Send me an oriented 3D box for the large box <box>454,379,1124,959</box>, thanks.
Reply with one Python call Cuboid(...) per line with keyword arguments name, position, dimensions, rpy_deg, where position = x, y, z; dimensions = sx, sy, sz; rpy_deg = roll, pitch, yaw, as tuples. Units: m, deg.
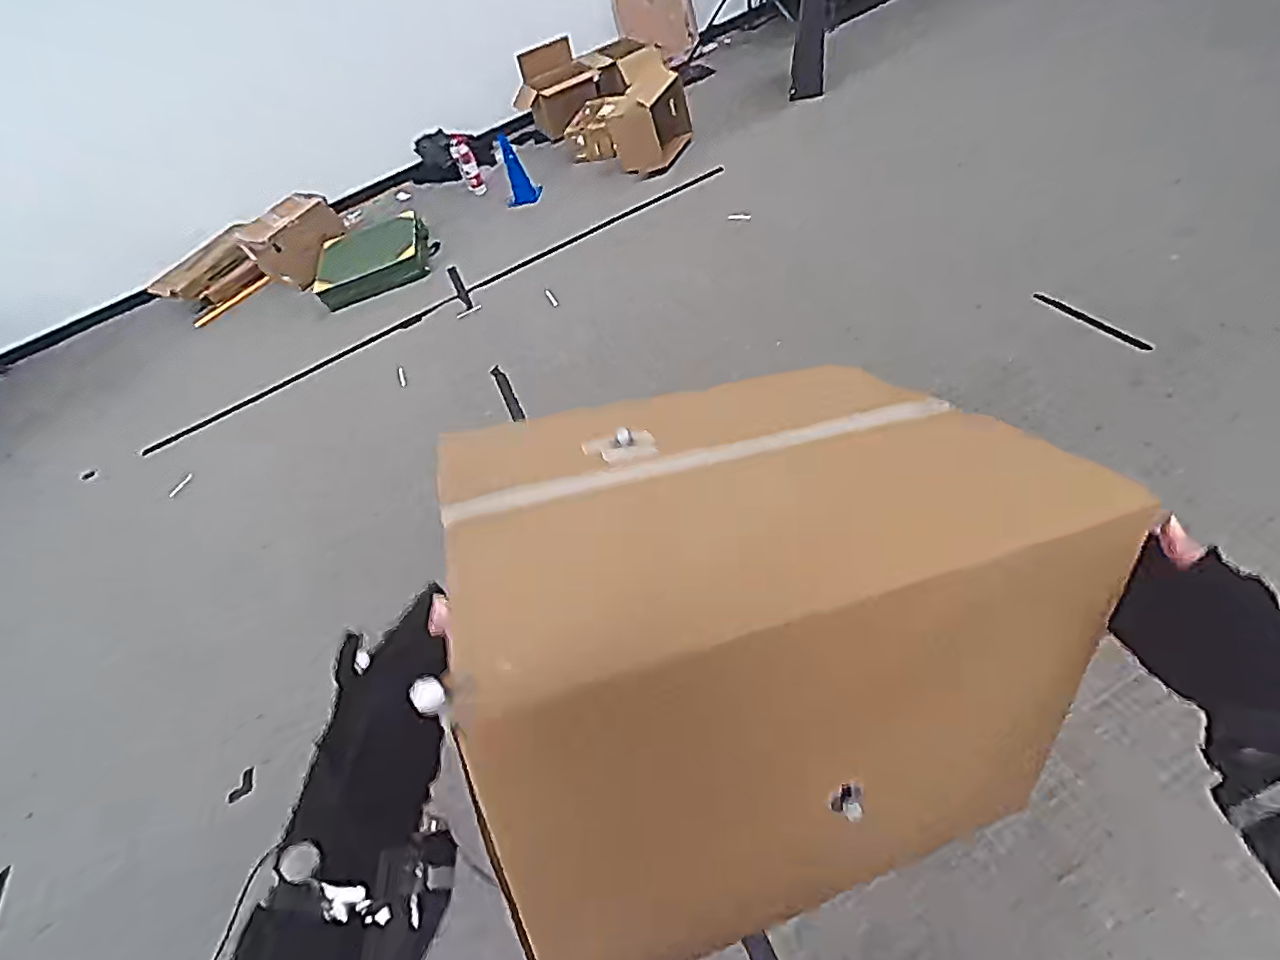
Cuboid(name="large box", position=(0.084, 0.133, 0.481), dimensions=(0.408, 0.320, 0.320), rpy_deg=(-14, 29, -14))
